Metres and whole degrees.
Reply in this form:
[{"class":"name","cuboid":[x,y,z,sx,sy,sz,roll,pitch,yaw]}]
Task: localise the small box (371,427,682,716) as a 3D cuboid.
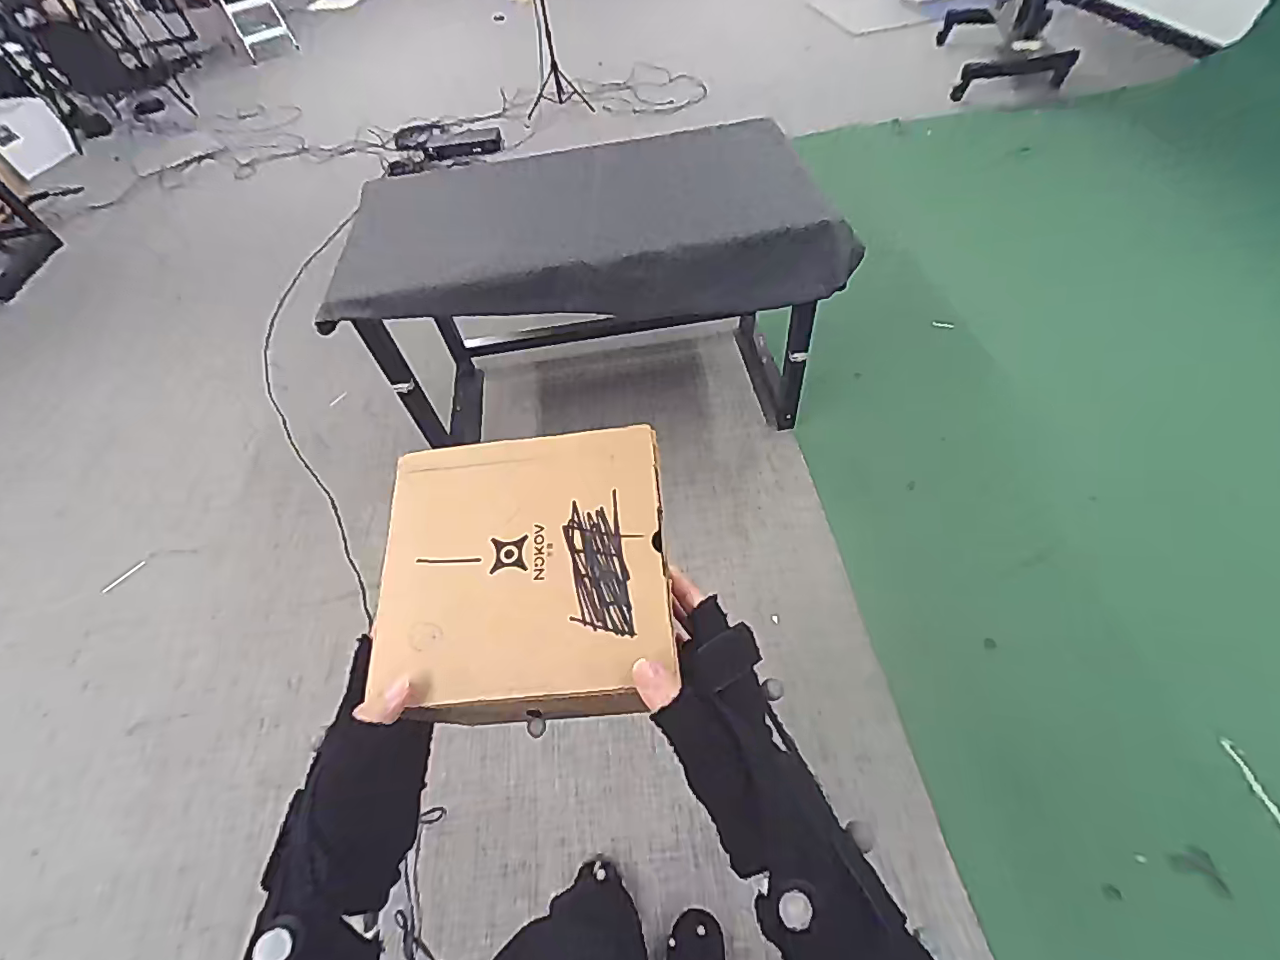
[{"class":"small box","cuboid":[-0.063,0.079,0.403,0.179,0.176,0.168,-6,63,2]}]
